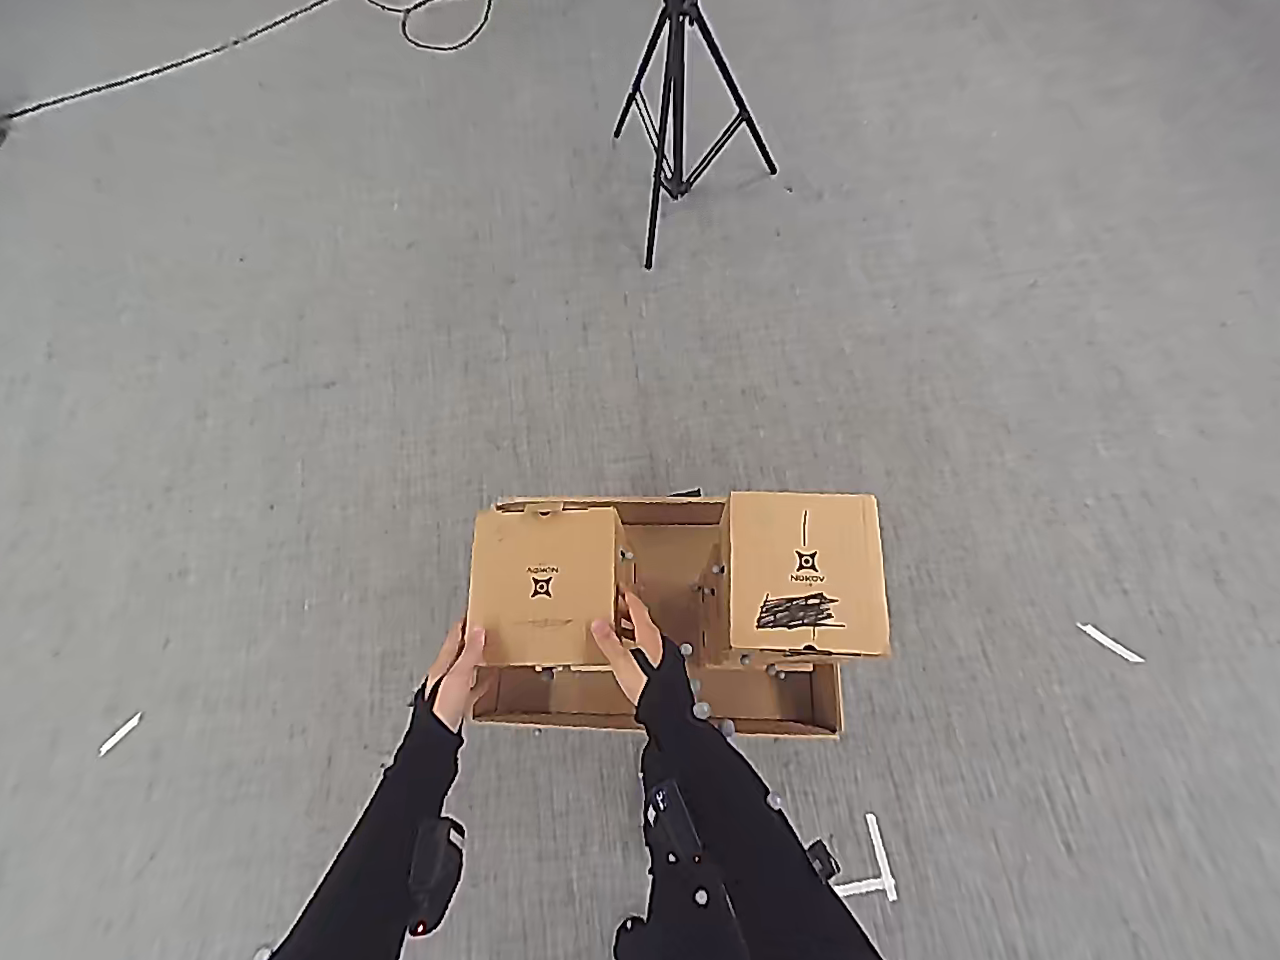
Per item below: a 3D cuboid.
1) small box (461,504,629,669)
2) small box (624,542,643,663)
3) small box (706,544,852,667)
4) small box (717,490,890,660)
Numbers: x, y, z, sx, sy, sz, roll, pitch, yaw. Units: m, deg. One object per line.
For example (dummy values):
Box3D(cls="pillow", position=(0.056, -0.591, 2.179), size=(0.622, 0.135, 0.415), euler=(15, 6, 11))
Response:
Box3D(cls="small box", position=(-0.103, 0.139, 0.670), size=(0.168, 0.176, 0.179), euler=(-2, 70, 4))
Box3D(cls="small box", position=(-0.089, 0.191, 0.824), size=(0.179, 0.176, 0.168), euler=(1, 71, 3))
Box3D(cls="small box", position=(0.194, 0.189, 0.805), size=(0.179, 0.176, 0.168), euler=(-2, 71, 3))
Box3D(cls="small box", position=(0.183, 0.121, 0.653), size=(0.168, 0.176, 0.179), euler=(2, 71, 4))
